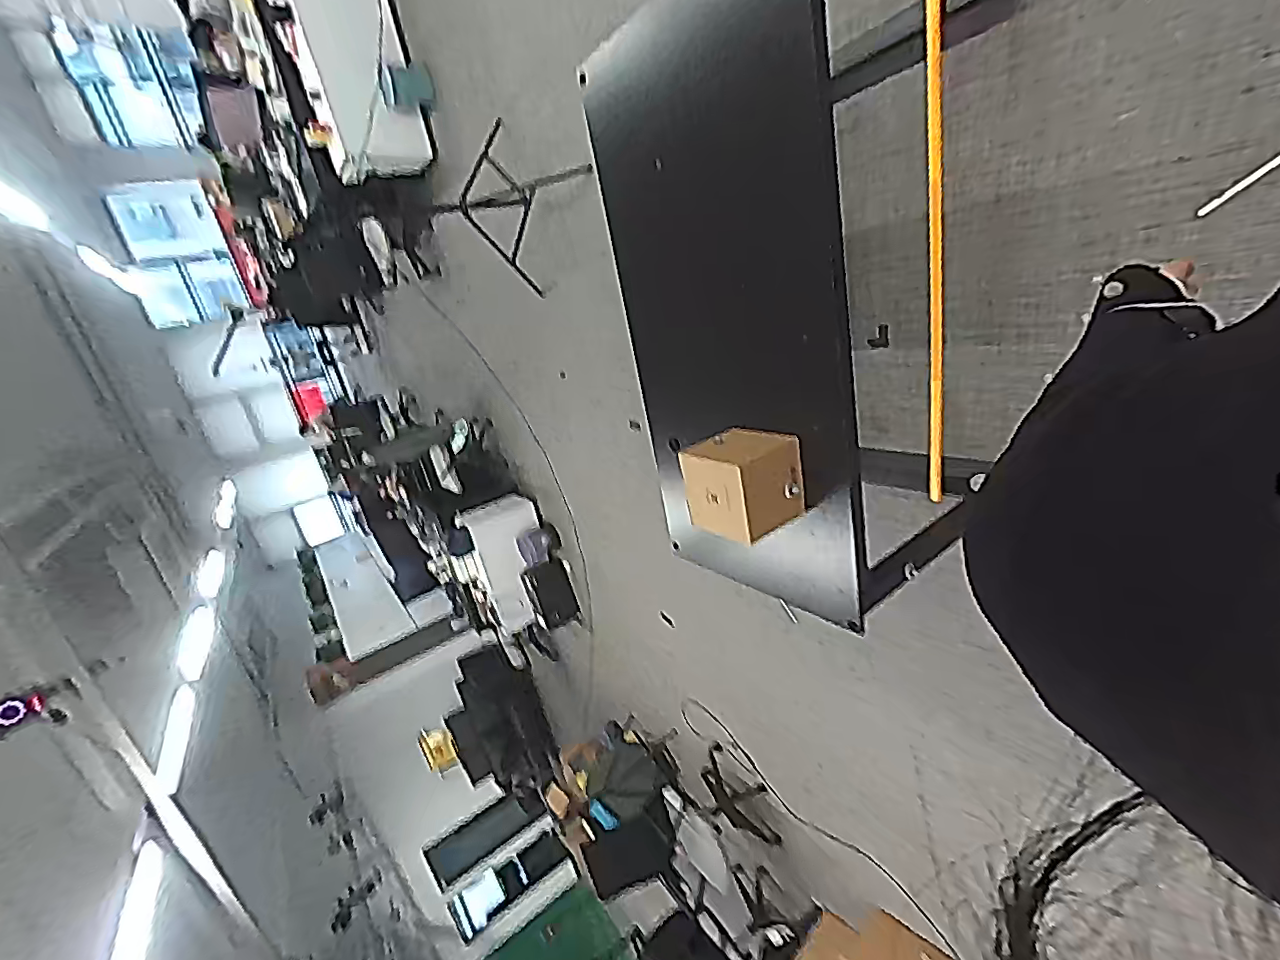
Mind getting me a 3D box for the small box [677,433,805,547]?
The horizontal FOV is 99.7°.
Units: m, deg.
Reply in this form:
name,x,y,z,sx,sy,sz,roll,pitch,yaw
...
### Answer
name,x,y,z,sx,sy,sz,roll,pitch,yaw
small box,0.204,0.010,1.089,0.179,0.176,0.168,15,124,53
